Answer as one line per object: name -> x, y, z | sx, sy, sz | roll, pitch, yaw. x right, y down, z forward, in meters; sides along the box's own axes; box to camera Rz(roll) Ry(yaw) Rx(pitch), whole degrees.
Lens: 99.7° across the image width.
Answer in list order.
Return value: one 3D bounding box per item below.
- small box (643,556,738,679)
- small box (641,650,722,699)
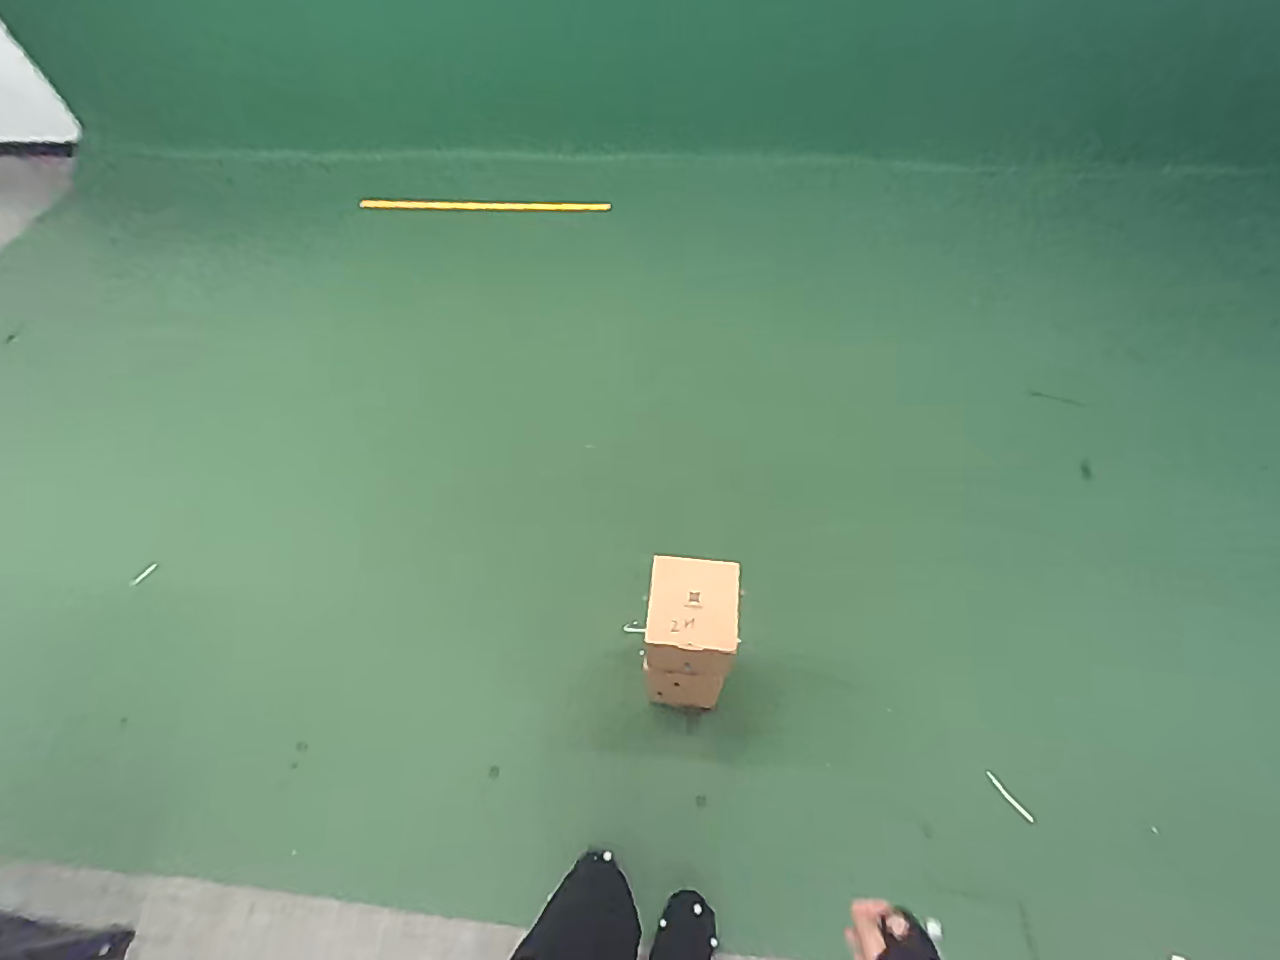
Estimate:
small box -> 0.097, 0.272, 1.061 | 0.168, 0.176, 0.179 | 6, 57, 5
small box -> 0.092, 0.367, 1.196 | 0.168, 0.176, 0.179 | 5, 57, 4
